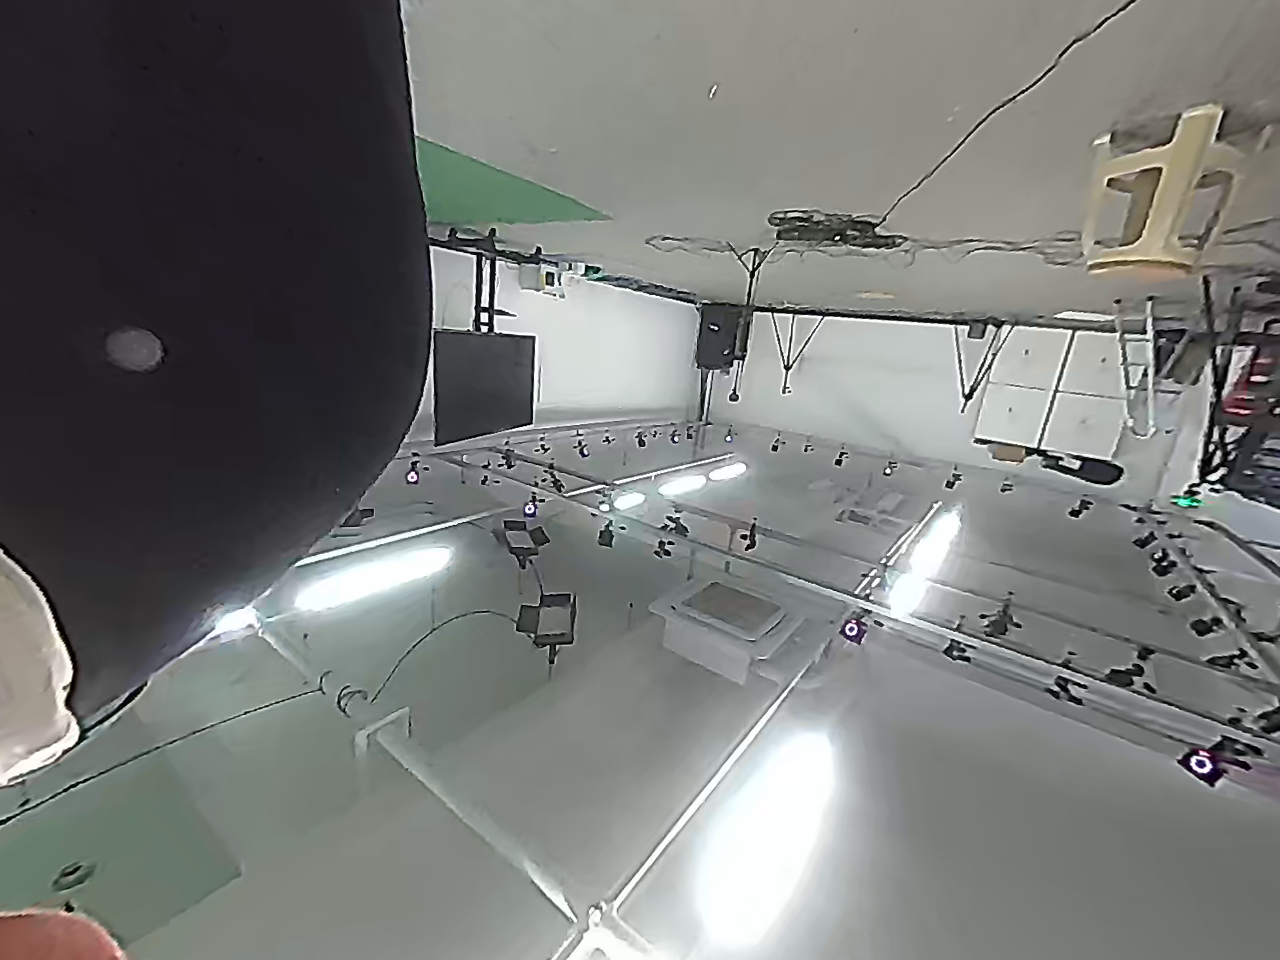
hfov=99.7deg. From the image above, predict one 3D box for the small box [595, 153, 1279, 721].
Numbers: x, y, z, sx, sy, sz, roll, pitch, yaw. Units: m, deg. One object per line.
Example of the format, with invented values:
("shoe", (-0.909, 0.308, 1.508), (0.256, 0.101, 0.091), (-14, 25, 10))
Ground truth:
("small box", (0.110, -0.002, 0.261), (0.168, 0.176, 0.179), (-36, 50, 16))
